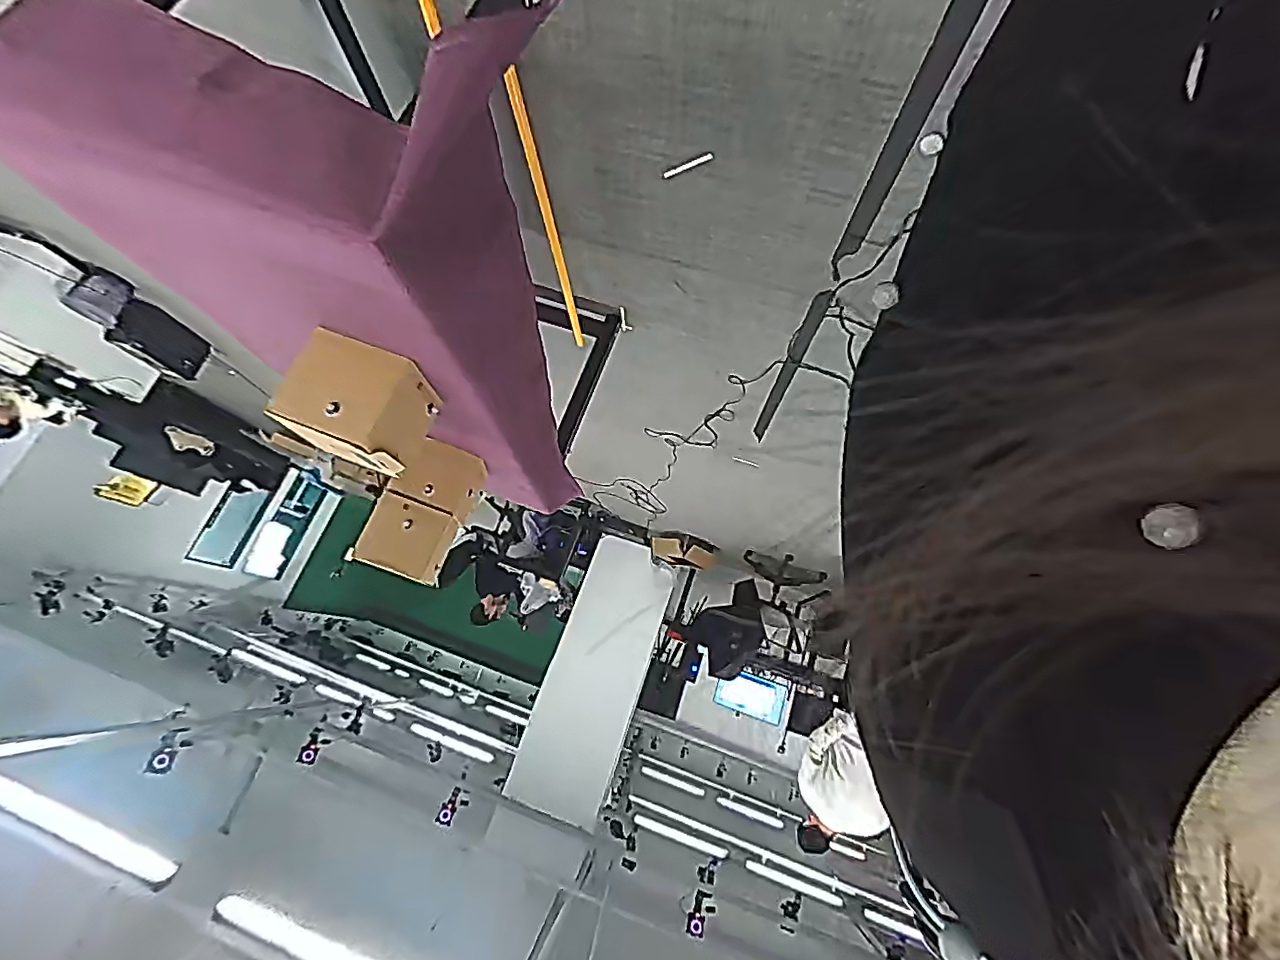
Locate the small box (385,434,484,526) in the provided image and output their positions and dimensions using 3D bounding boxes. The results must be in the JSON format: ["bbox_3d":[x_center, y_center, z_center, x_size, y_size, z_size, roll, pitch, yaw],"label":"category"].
[{"bbox_3d":[-0.513,-0.001,1.384,0.179,0.176,0.168,22,162,-4],"label":"small box"}]

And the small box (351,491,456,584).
[{"bbox_3d":[-0.569,0.144,1.330,0.168,0.176,0.179,21,162,-6],"label":"small box"}]

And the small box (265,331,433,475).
[{"bbox_3d":[-0.485,-0.132,0.939,0.179,0.176,0.168,20,163,4],"label":"small box"}]
